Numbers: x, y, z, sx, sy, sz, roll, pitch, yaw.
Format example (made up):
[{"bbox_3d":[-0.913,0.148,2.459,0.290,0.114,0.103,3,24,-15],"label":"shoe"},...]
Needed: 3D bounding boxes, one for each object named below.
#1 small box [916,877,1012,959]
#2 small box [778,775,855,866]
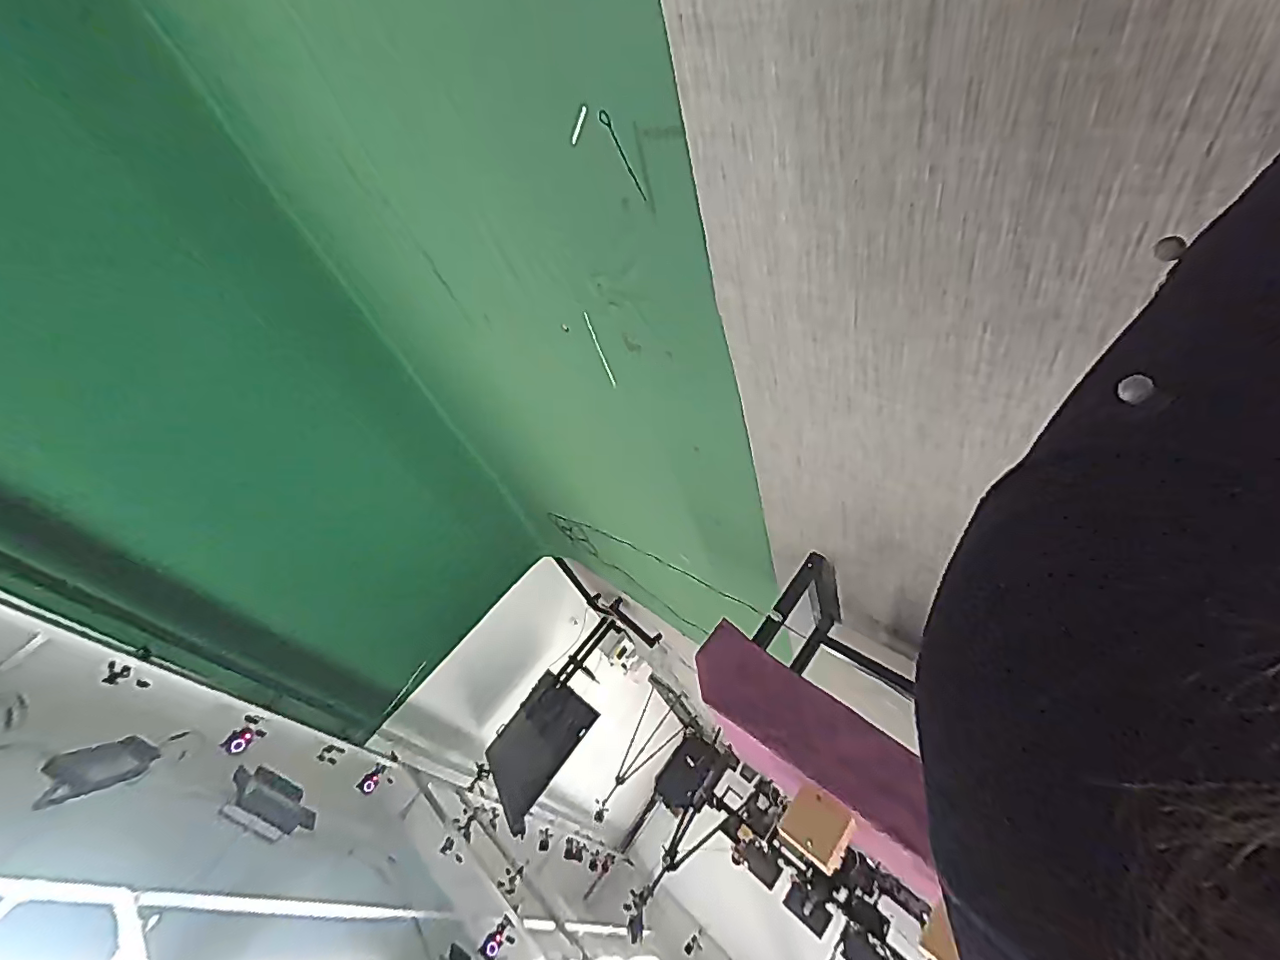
[{"bbox_3d":[0.857,1.201,1.435,0.168,0.176,0.179,25,153,38],"label":"small box"},{"bbox_3d":[0.560,1.070,1.702,0.168,0.176,0.179,23,153,38],"label":"small box"}]
